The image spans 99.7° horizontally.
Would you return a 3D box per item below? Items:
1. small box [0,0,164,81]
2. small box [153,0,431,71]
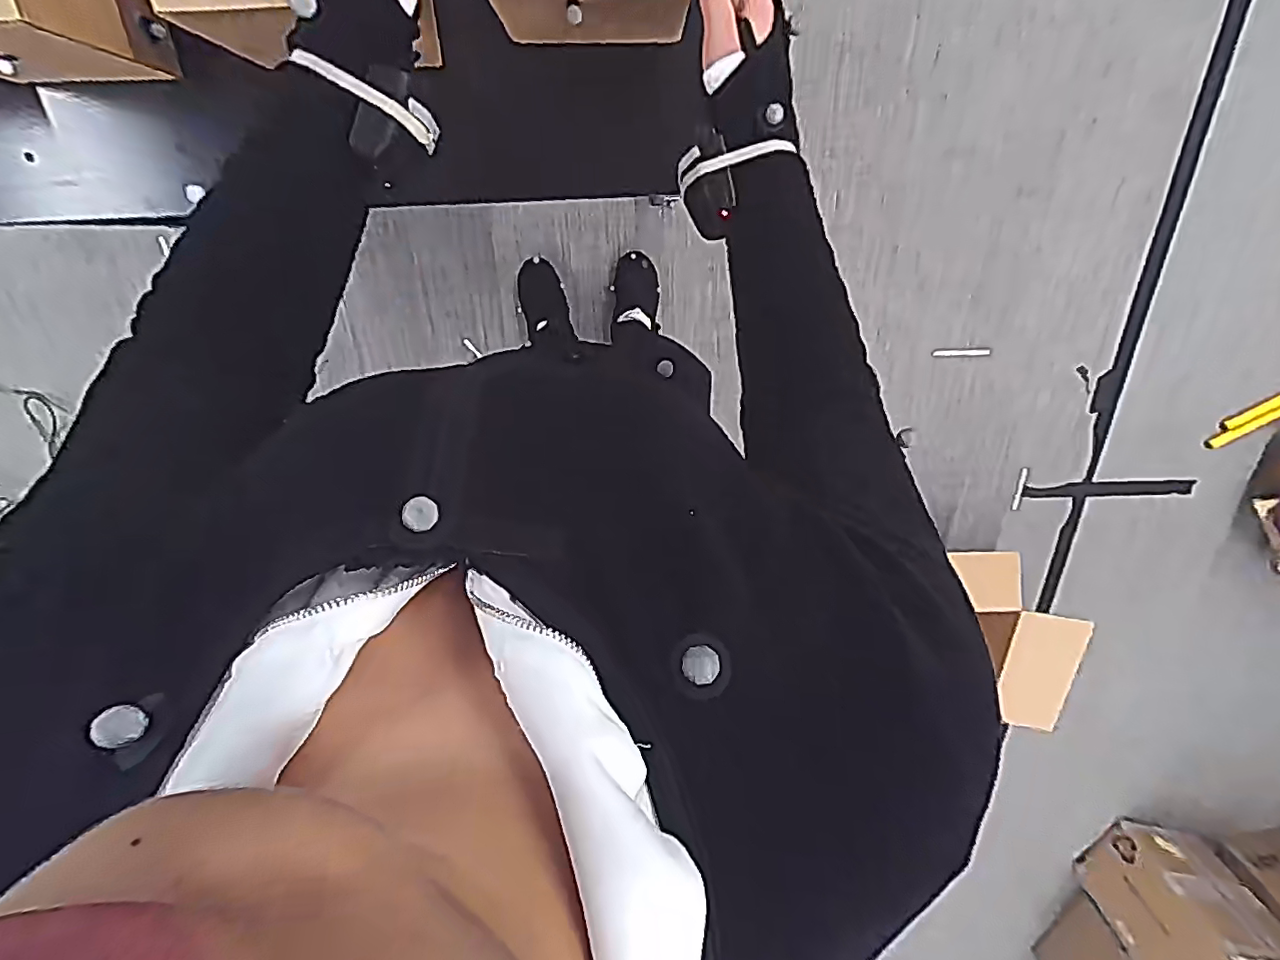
[{"bbox_3d":[-0.564,-0.460,0.460,0.179,0.176,0.168,-2,114,0],"label":"small box"},{"bbox_3d":[-0.294,-0.472,0.460,0.179,0.176,0.168,-3,114,0],"label":"small box"}]
